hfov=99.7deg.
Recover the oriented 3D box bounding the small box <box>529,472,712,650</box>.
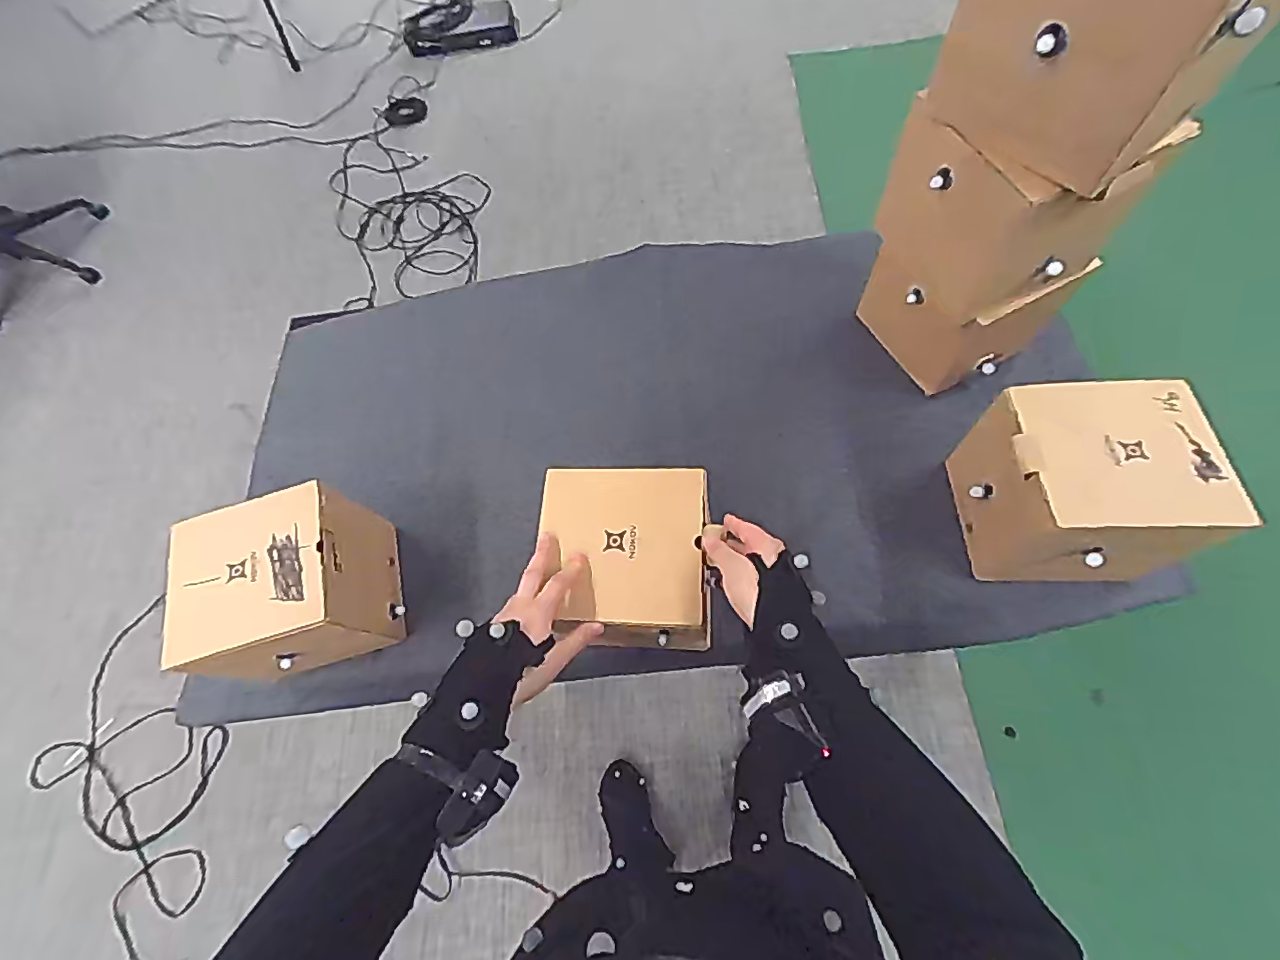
[{"bbox_3d":[-0.008,0.099,0.621,0.179,0.176,0.168,0,66,8],"label":"small box"}]

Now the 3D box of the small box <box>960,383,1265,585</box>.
[{"bbox_3d":[0.479,0.013,0.592,0.179,0.176,0.168,-1,63,7],"label":"small box"}]

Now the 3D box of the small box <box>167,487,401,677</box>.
[{"bbox_3d":[-0.408,0.131,0.652,0.179,0.176,0.168,-17,67,0],"label":"small box"}]

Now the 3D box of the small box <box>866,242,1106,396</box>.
[{"bbox_3d":[0.431,-0.245,0.714,0.168,0.176,0.179,-28,68,-2],"label":"small box"}]

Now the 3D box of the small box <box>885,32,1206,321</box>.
[{"bbox_3d":[0.388,-0.304,0.565,0.168,0.176,0.179,-24,67,0],"label":"small box"}]
